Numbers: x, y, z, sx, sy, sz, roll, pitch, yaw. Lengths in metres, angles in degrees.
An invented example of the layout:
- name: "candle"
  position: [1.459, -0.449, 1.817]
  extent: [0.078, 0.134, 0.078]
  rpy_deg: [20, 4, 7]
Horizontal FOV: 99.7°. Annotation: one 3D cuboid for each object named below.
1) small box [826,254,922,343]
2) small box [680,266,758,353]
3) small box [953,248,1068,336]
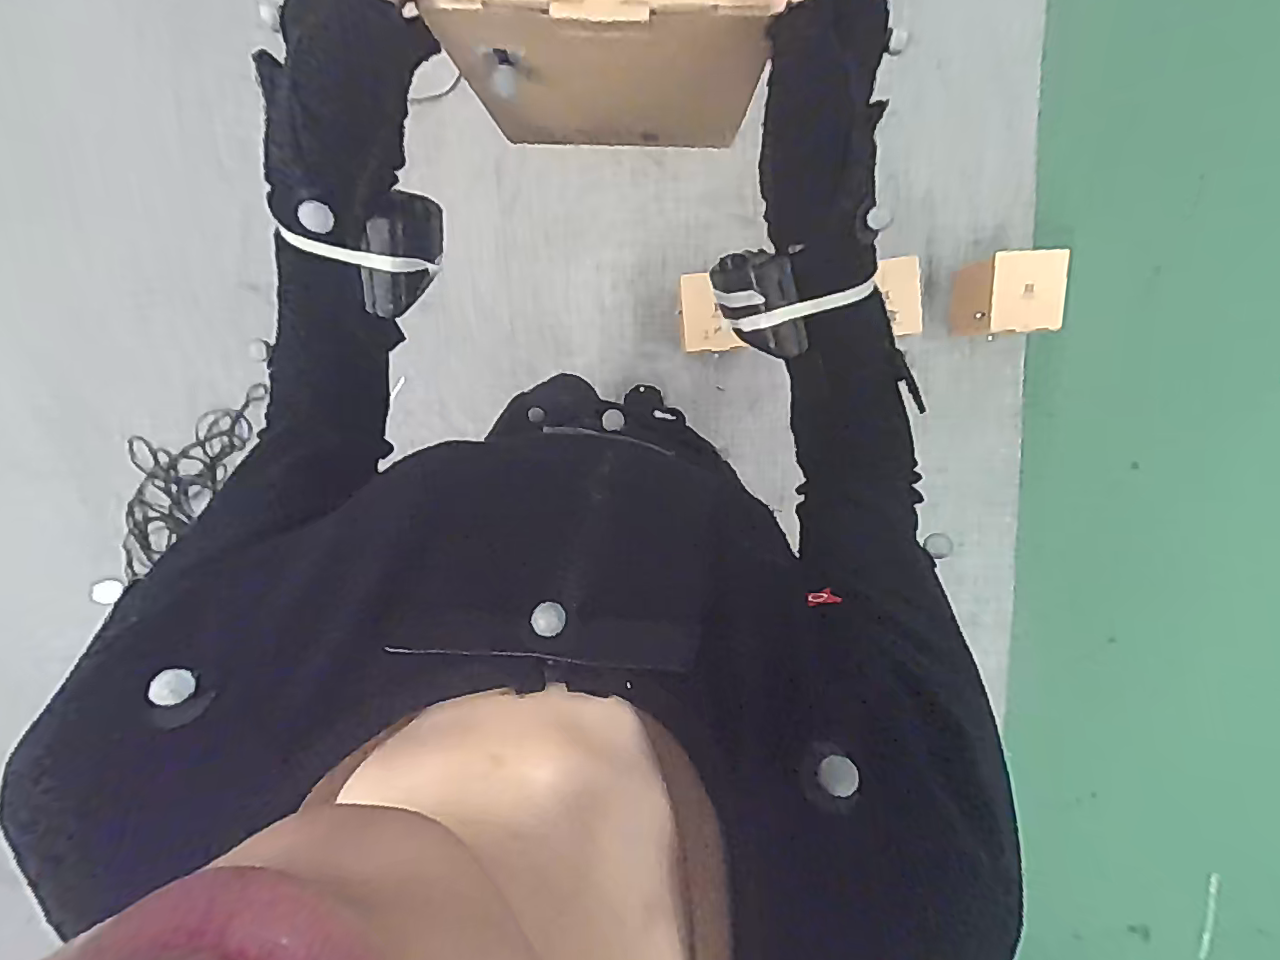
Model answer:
- name: "small box"
  position: [0.563, -0.431, 1.315]
  extent: [0.168, 0.176, 0.179]
  rpy_deg: [-7, 99, 2]
- name: "small box"
  position: [0.188, -0.410, 1.323]
  extent: [0.168, 0.176, 0.179]
  rpy_deg: [-5, 100, 3]
- name: "small box"
  position: [0.886, -0.448, 1.308]
  extent: [0.168, 0.176, 0.179]
  rpy_deg: [-2, 100, 2]
